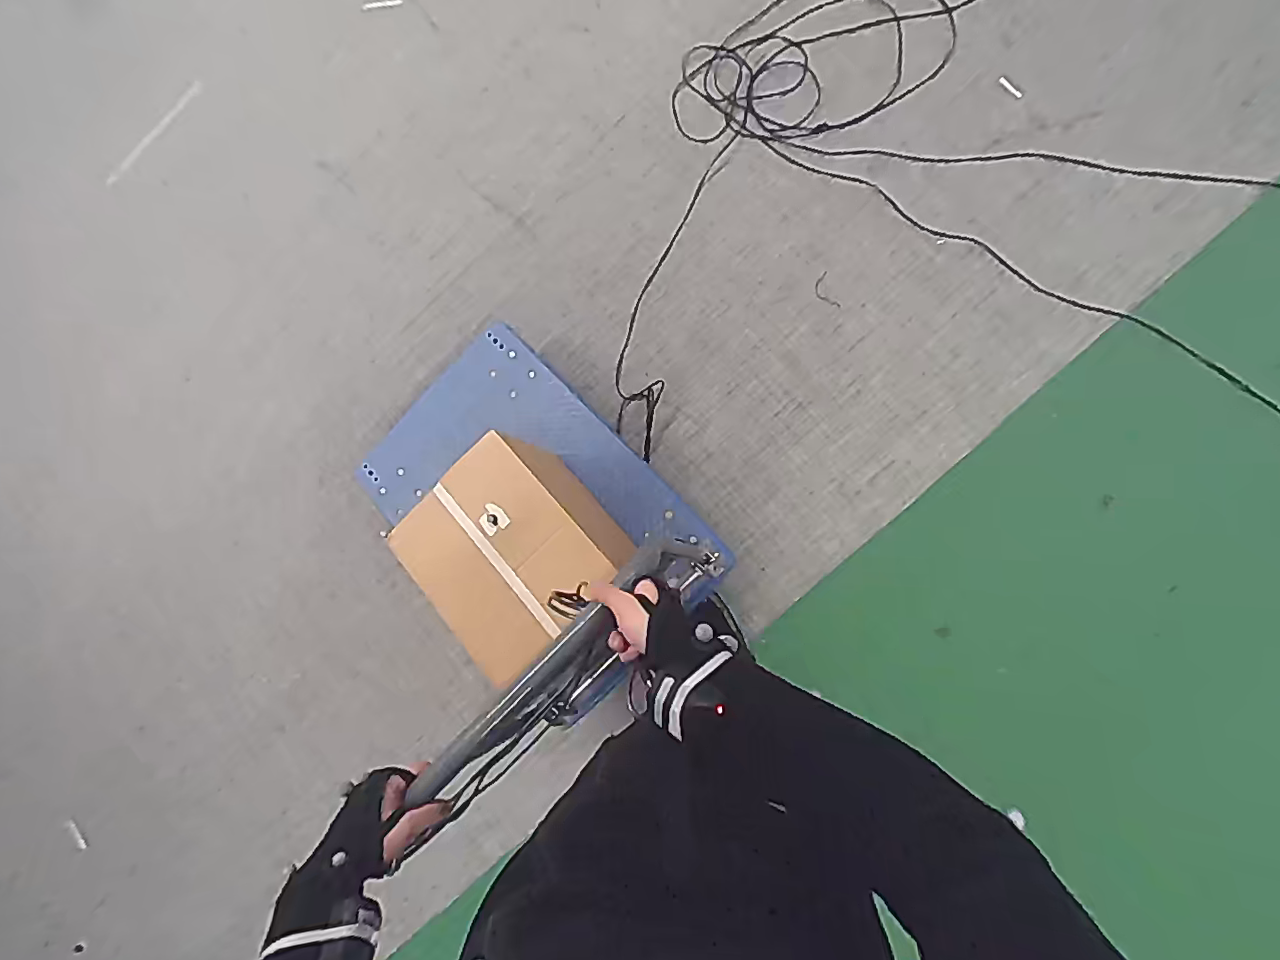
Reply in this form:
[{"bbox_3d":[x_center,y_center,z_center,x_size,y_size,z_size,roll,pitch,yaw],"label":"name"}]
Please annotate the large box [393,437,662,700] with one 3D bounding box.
[{"bbox_3d":[-0.218,0.176,1.152,0.320,0.320,0.408,-44,75,4],"label":"large box"}]
